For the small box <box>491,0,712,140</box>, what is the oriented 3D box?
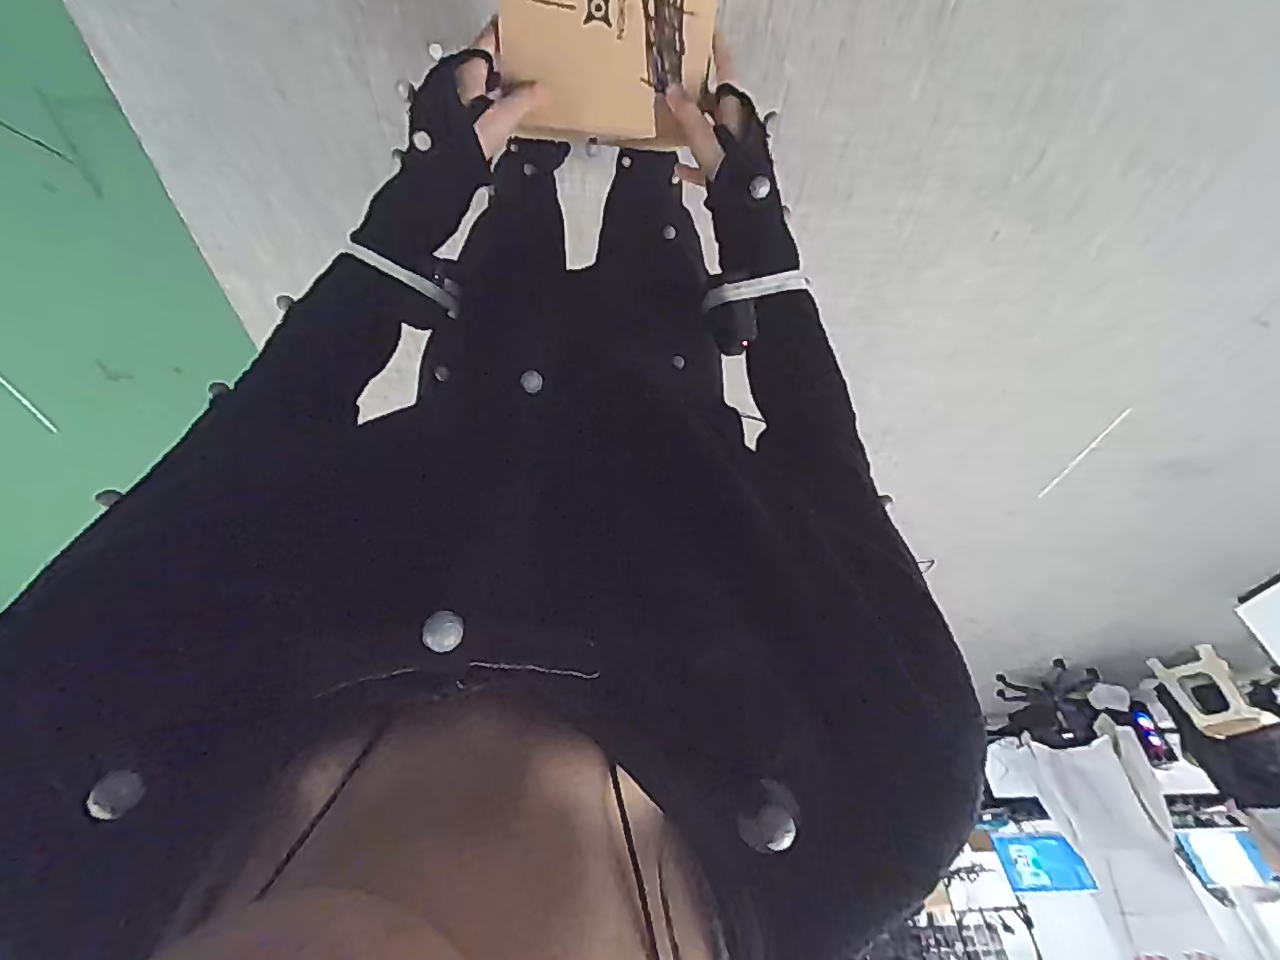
[{"bbox_3d":[-0.037,-0.417,0.493,0.179,0.176,0.168,2,119,-7],"label":"small box"}]
